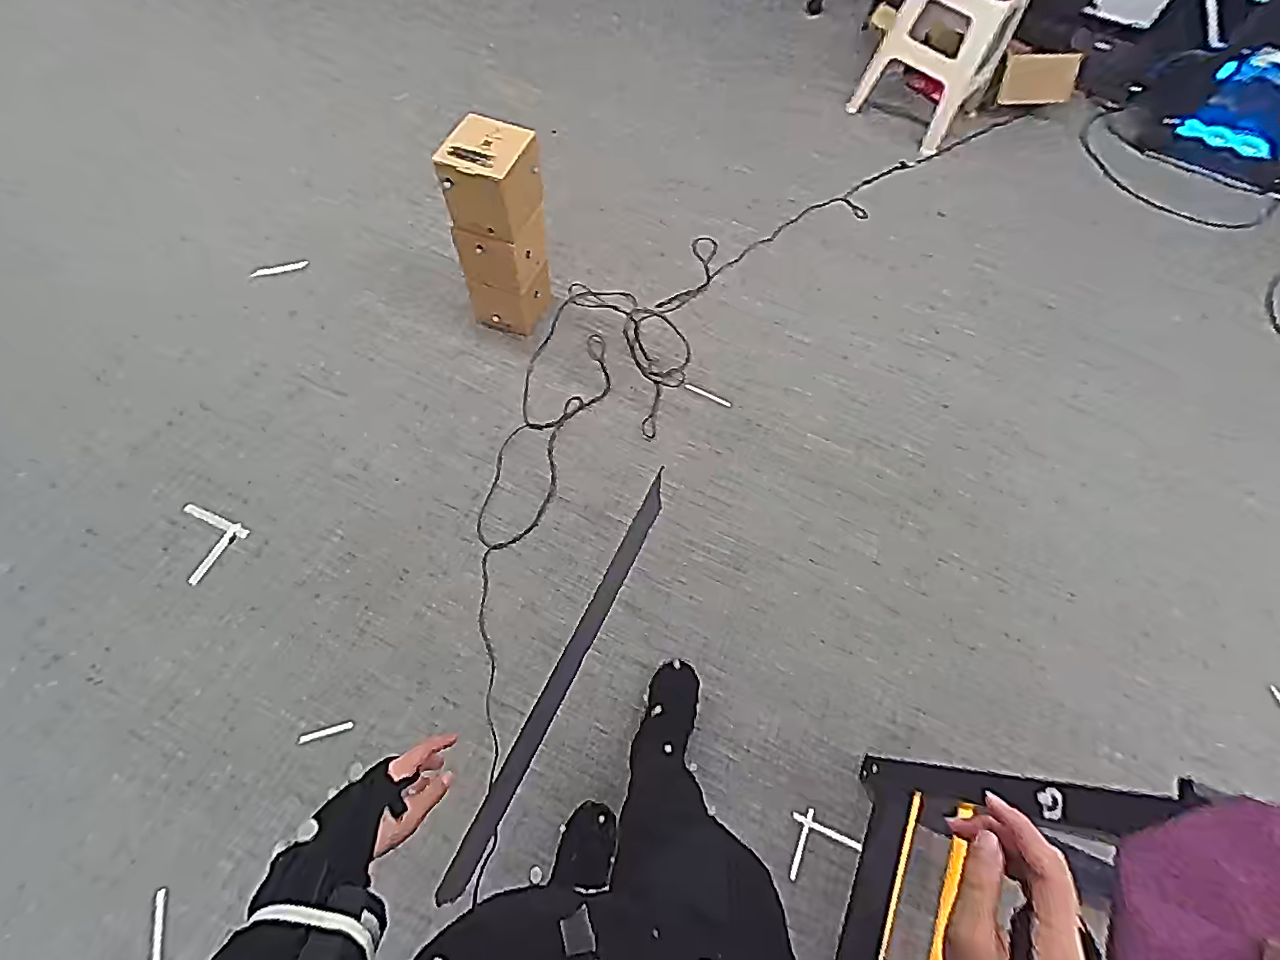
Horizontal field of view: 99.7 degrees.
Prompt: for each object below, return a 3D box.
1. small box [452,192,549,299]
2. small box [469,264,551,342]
[{"bbox_3d":[-0.349,-0.597,1.398,0.179,0.176,0.168,20,67,7],"label":"small box"},{"bbox_3d":[-0.362,-0.532,1.546,0.168,0.176,0.179,18,67,5],"label":"small box"}]
